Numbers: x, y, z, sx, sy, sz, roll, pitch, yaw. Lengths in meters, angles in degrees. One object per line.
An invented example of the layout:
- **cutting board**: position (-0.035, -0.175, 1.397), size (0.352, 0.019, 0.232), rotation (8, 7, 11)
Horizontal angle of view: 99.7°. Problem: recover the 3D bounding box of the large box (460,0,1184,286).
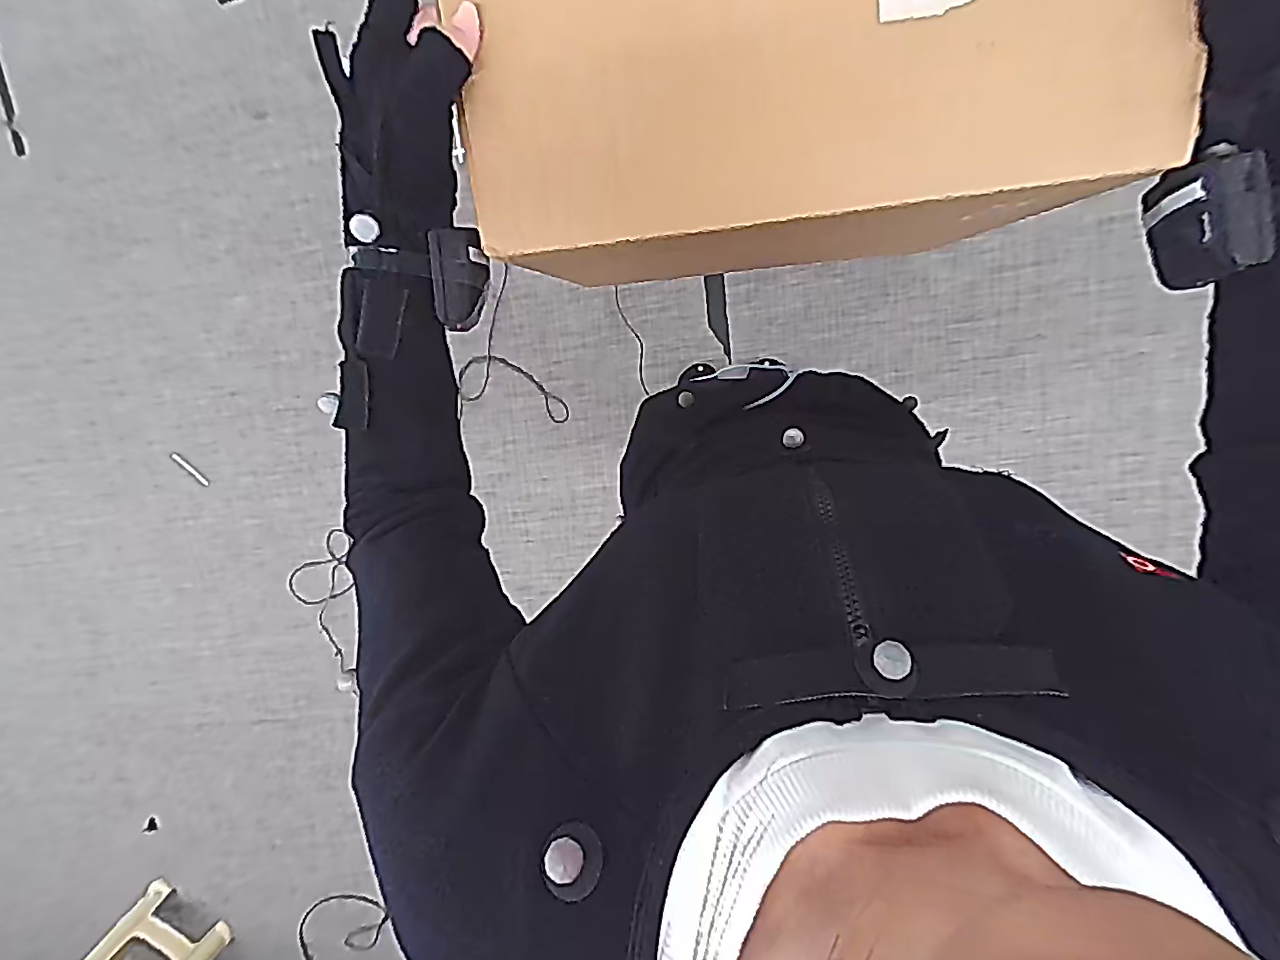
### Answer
- **large box**: position (0.099, -0.355, 0.438), size (0.408, 0.320, 0.320), rotation (-5, 106, 7)
